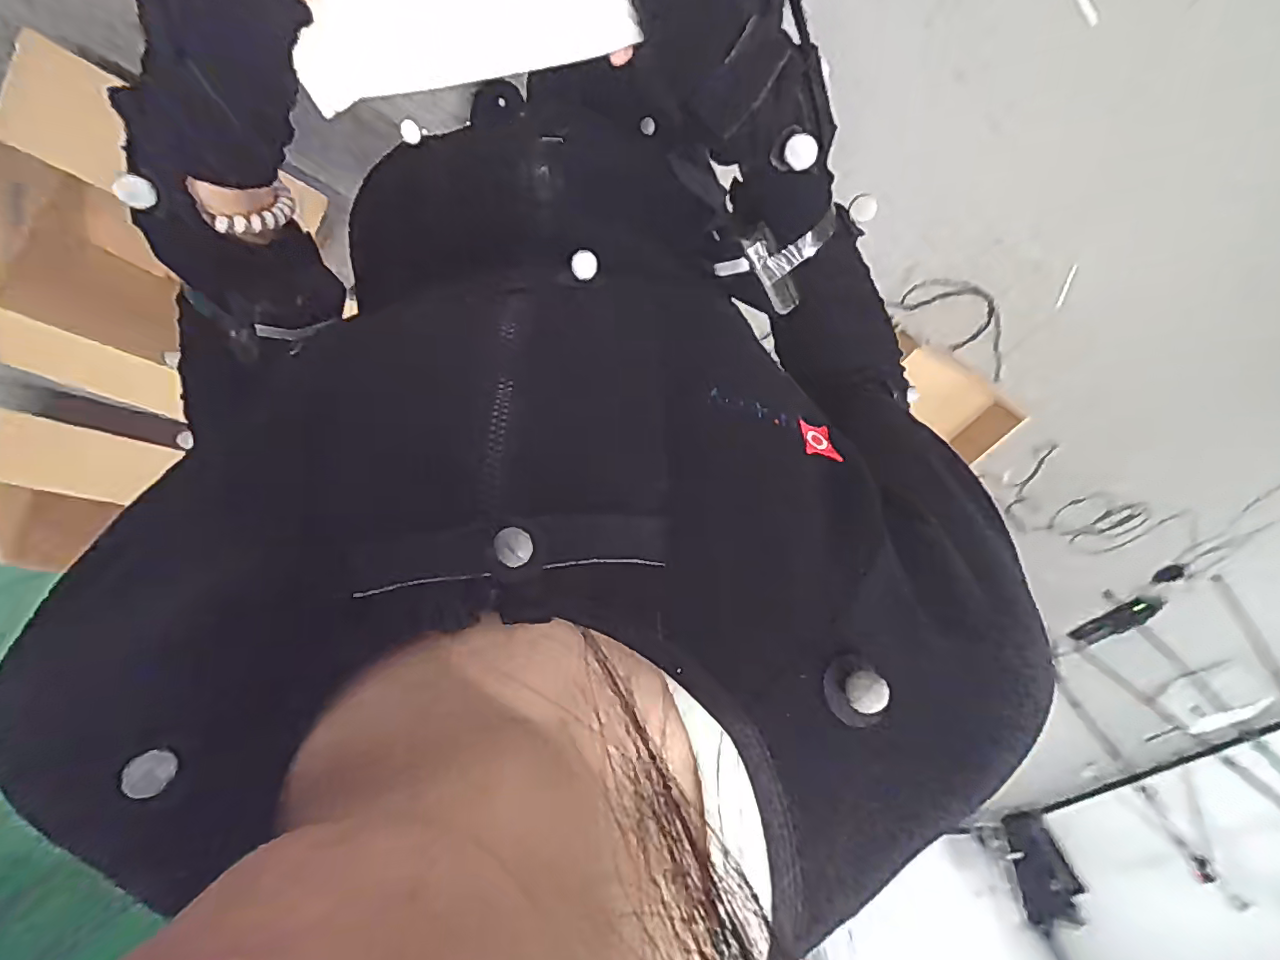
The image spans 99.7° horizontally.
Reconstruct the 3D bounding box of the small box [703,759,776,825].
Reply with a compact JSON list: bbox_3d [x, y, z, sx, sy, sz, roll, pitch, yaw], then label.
[{"bbox_3d":[0.358,1.138,1.972,0.179,0.176,0.168,25,123,-33],"label":"small box"}]
